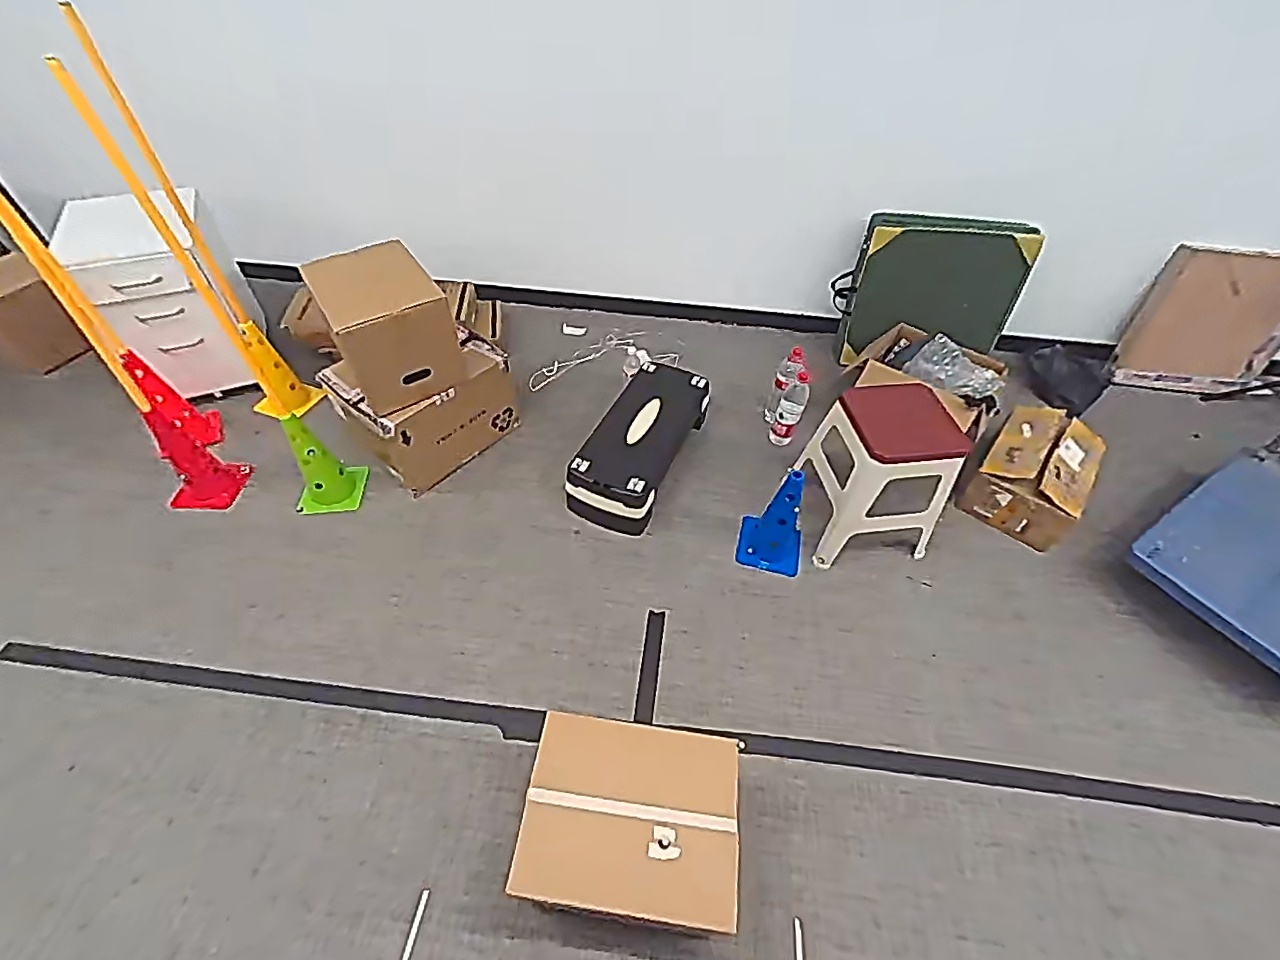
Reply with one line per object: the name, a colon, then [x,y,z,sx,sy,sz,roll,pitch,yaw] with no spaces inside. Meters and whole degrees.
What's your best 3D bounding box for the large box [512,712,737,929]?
large box: [-0.024,0.723,1.145,0.408,0.320,0.320,8,50,2]
